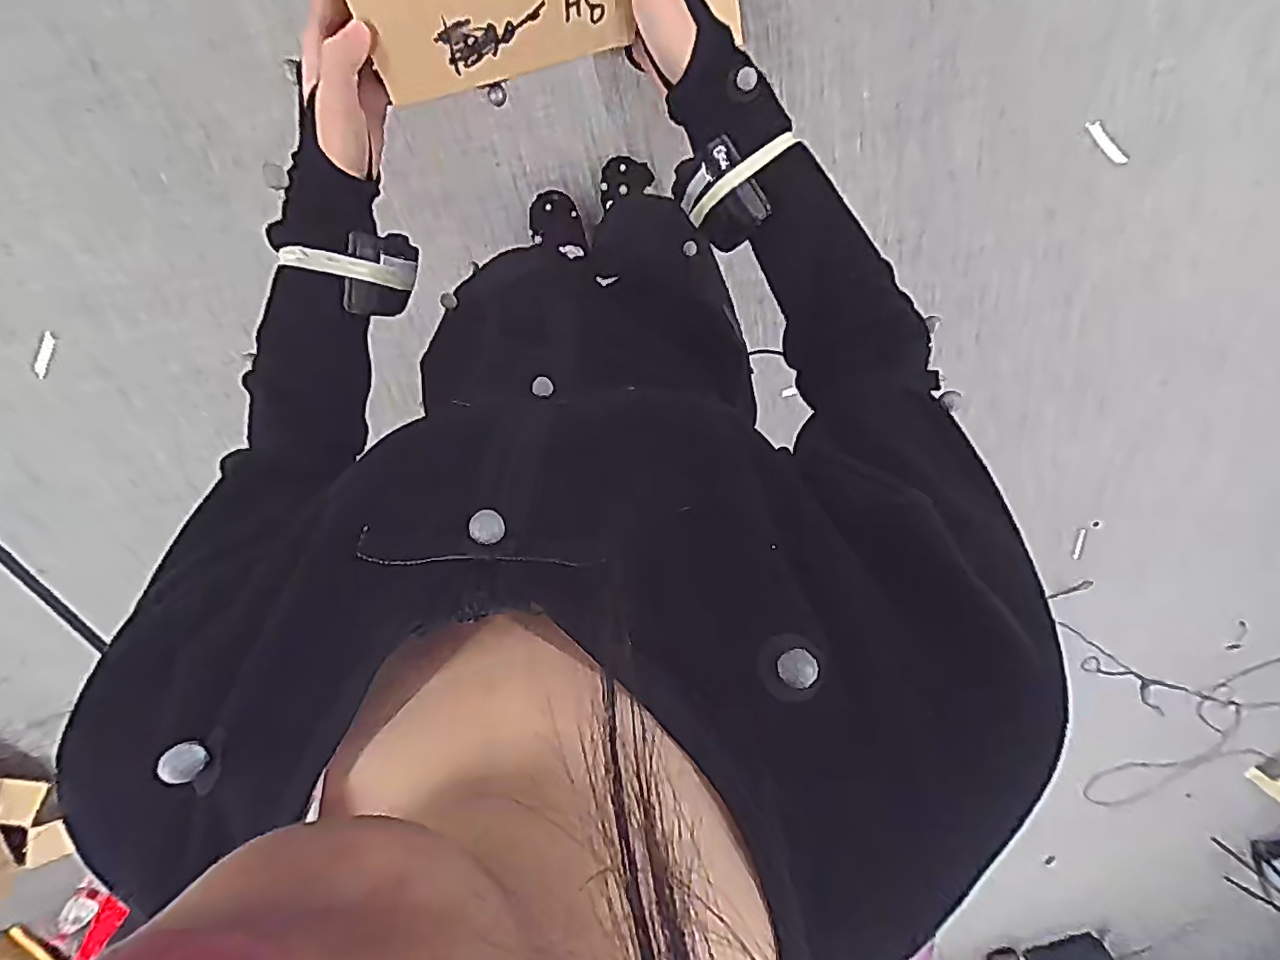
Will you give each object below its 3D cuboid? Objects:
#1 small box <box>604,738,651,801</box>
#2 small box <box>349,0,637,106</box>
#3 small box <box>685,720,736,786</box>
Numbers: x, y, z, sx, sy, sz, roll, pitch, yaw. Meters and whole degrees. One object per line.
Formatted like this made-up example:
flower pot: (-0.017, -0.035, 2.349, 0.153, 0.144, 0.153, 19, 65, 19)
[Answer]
small box: (-0.058, 1.209, 2.262, 0.179, 0.176, 0.168, 0, 120, -9)
small box: (-0.102, -0.373, 0.349, 0.168, 0.176, 0.179, -11, 132, 6)
small box: (0.292, 1.140, 2.260, 0.168, 0.176, 0.179, -14, 120, 2)
